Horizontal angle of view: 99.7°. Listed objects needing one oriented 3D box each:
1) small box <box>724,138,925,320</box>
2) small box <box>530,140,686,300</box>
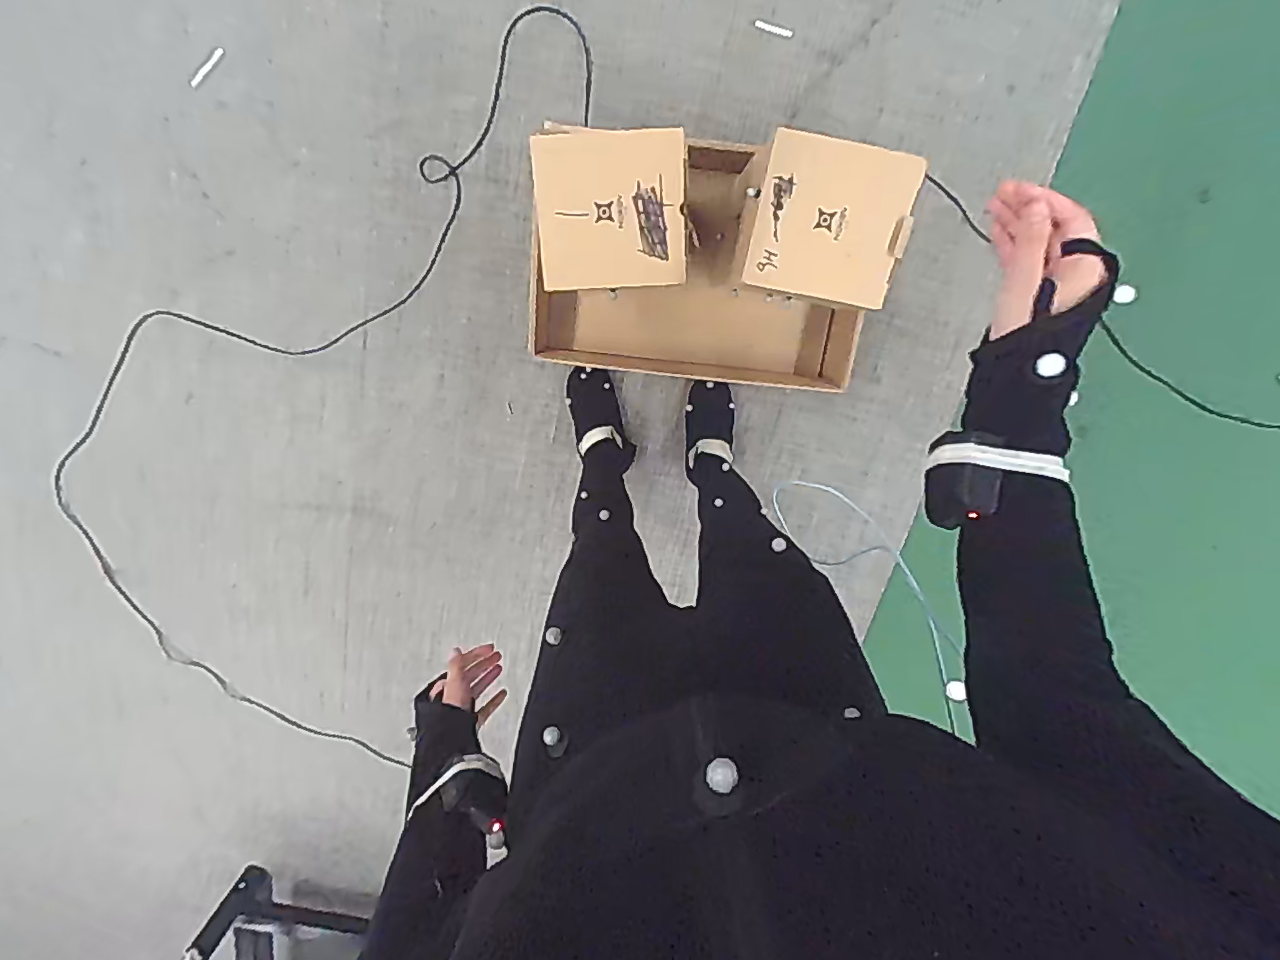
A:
[{"bbox_3d":[0.219,-0.310,0.697,0.179,0.176,0.168,11,108,-2],"label":"small box"},{"bbox_3d":[-0.035,-0.326,0.702,0.179,0.176,0.168,-2,110,1],"label":"small box"}]
